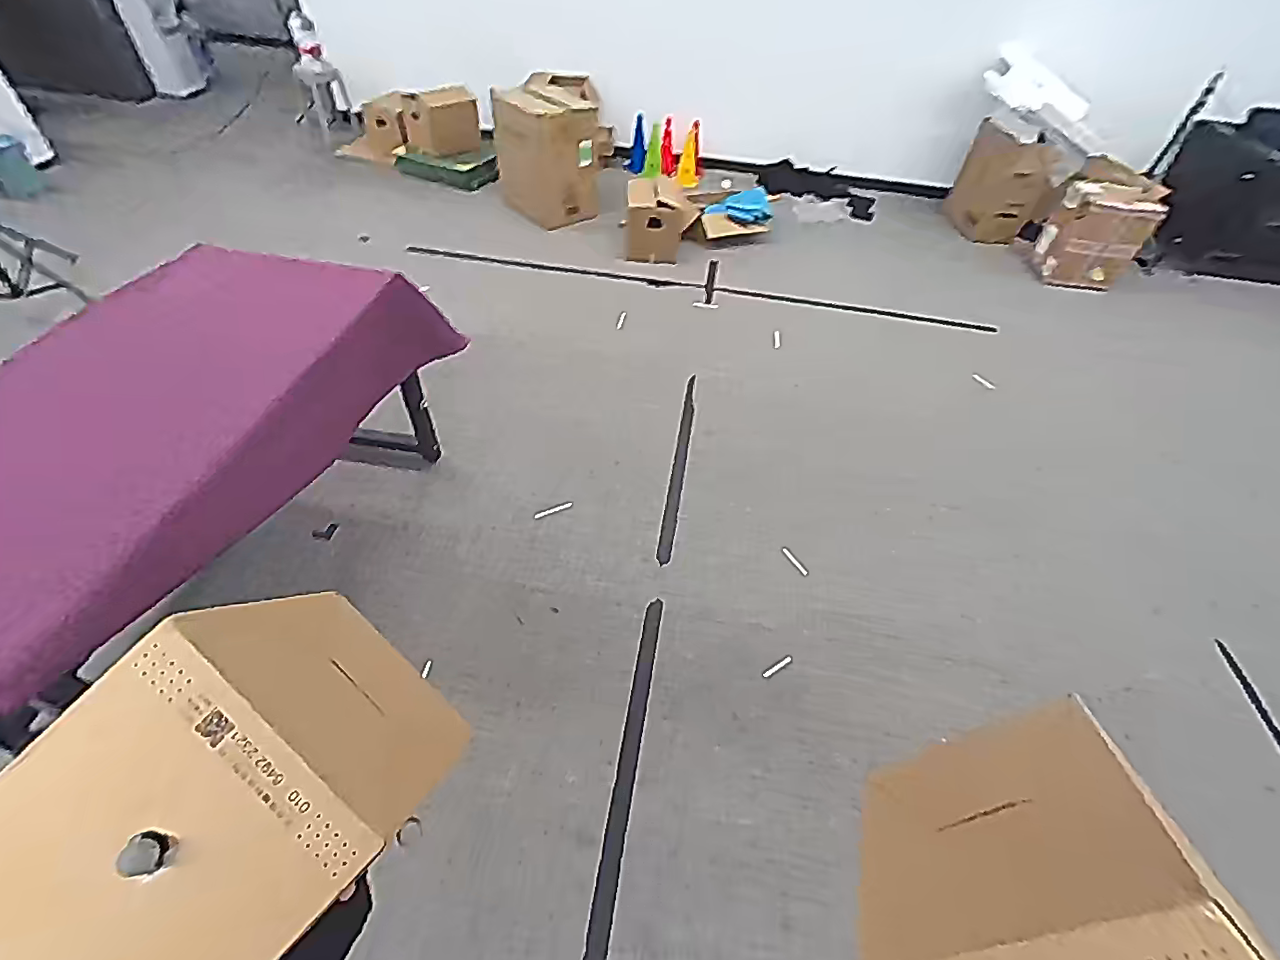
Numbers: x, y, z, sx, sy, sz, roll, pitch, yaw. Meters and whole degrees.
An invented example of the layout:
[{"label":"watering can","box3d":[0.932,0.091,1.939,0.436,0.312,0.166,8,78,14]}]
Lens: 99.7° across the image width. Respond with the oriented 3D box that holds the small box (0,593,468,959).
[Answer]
[{"label":"small box","box3d":[-0.239,0.187,0.337,0.168,0.179,0.176,43,81,4]}]
